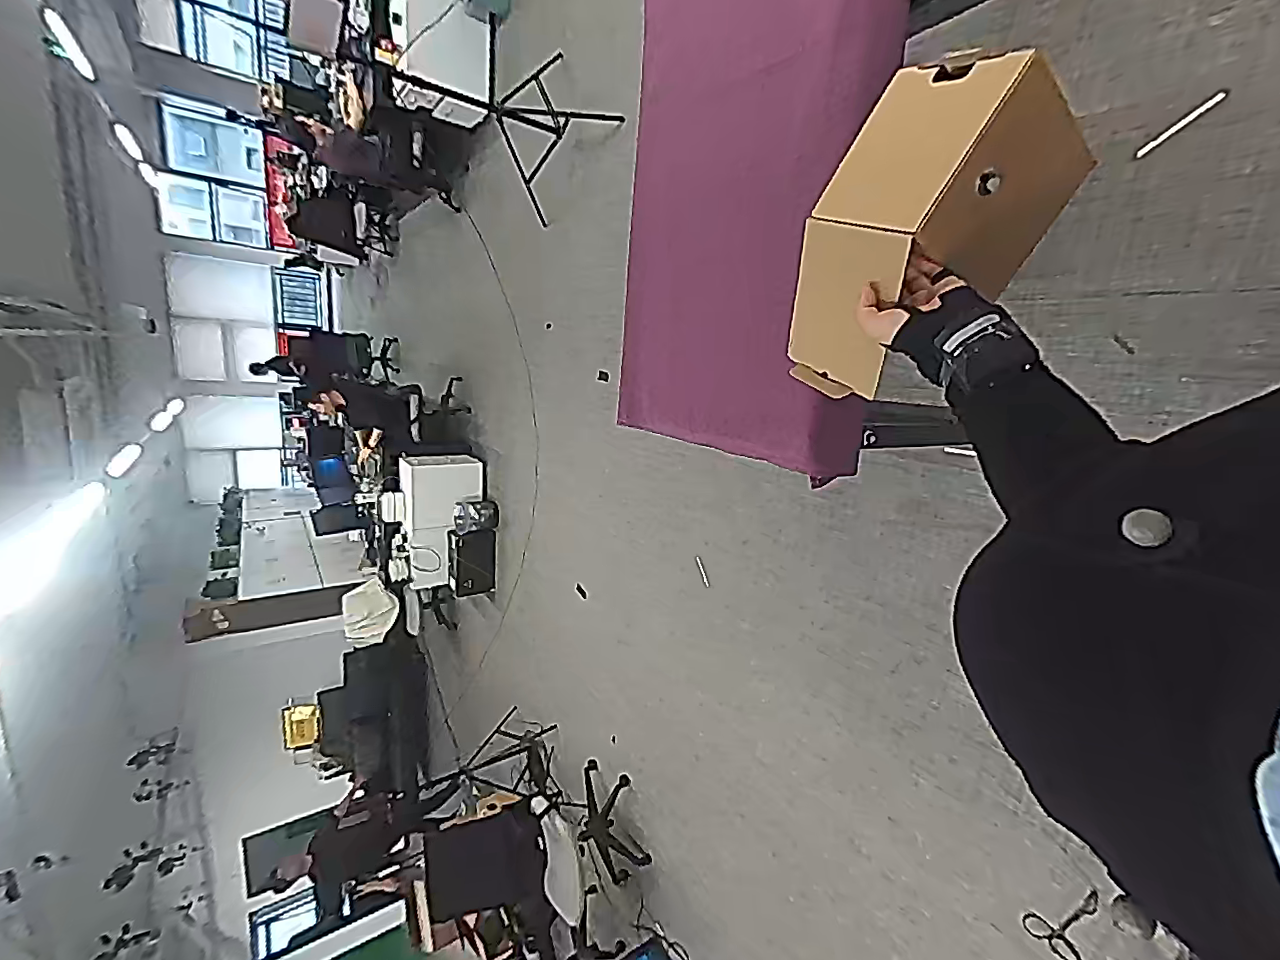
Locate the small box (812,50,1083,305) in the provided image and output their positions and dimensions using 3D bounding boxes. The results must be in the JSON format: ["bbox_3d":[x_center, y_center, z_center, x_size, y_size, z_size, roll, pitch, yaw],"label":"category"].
[{"bbox_3d":[0.340,-0.323,0.605,0.179,0.176,0.168,-59,35,16],"label":"small box"}]
